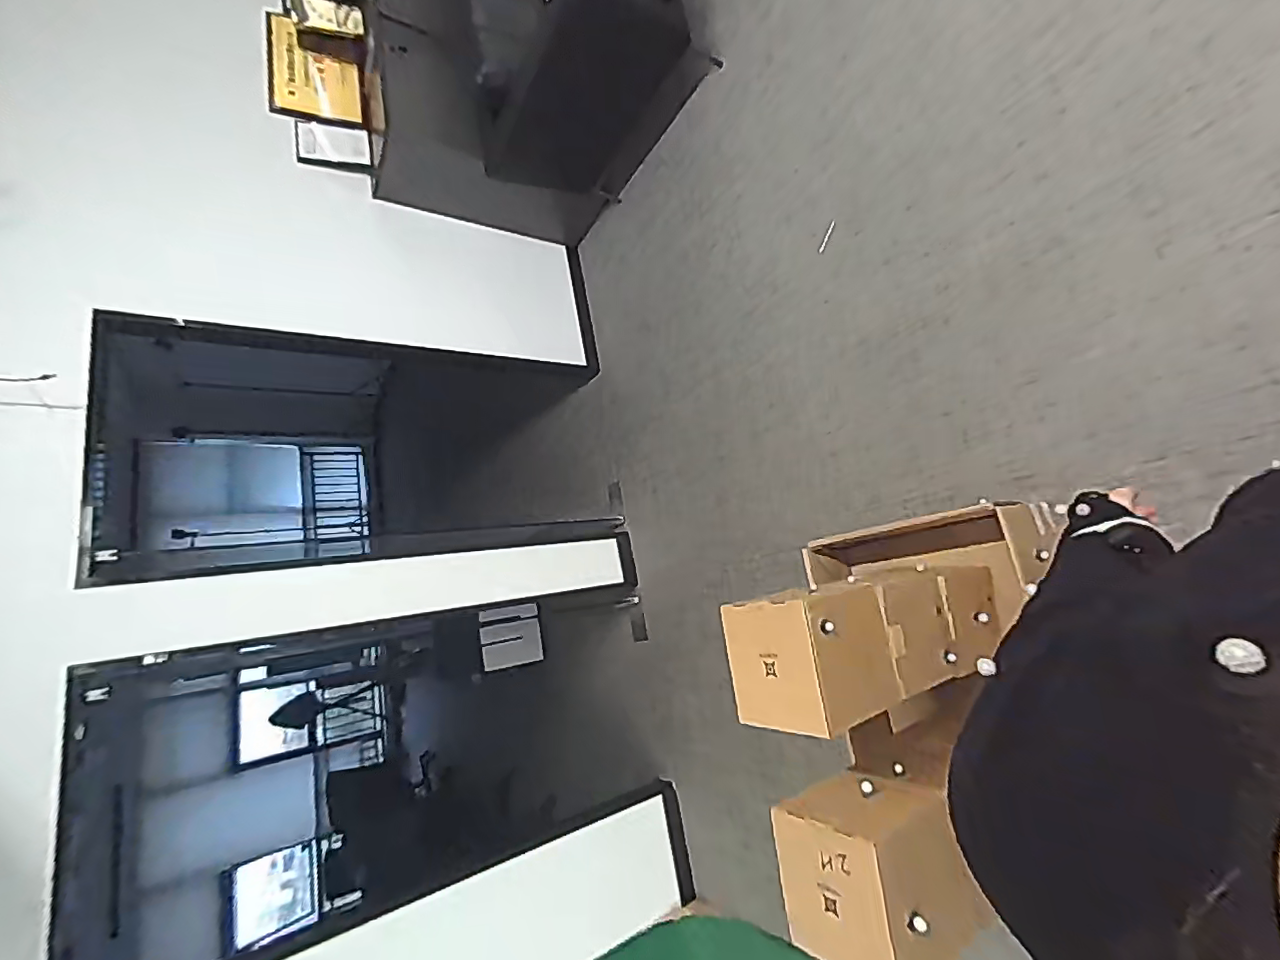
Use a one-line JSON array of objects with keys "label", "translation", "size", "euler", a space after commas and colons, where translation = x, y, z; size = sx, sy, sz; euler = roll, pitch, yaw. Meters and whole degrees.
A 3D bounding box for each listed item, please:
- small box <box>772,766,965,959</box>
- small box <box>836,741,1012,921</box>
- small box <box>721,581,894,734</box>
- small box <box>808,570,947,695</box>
[{"label": "small box", "translation": [0.309, 0.521, 0.733], "size": [0.168, 0.176, 0.179], "euler": [-20, 75, 53]}, {"label": "small box", "translation": [0.439, 0.519, 0.835], "size": [0.179, 0.176, 0.168], "euler": [-25, 71, 53]}, {"label": "small box", "translation": [0.250, 0.255, 0.810], "size": [0.168, 0.176, 0.179], "euler": [-23, 72, 53]}, {"label": "small box", "translation": [0.383, 0.246, 0.903], "size": [0.179, 0.176, 0.168], "euler": [-21, 74, 54]}]
